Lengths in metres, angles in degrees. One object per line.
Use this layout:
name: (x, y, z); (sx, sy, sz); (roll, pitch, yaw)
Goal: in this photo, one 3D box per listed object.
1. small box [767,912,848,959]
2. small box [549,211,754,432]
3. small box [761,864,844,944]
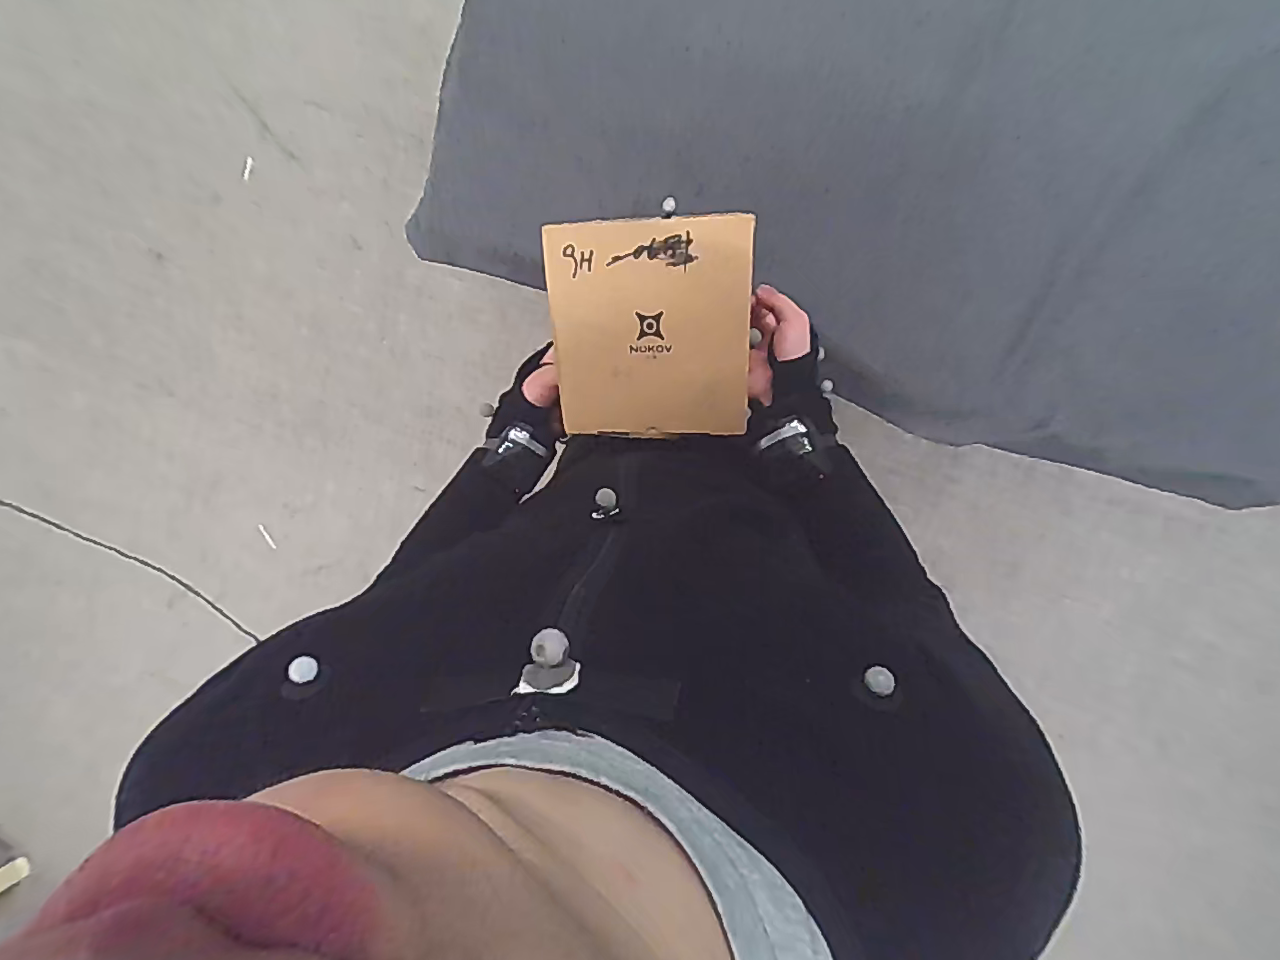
small box: (0.479, 1.381, 1.521); (0.179, 0.176, 0.168); (32, 101, 1)
small box: (0.021, -0.160, 0.530); (0.168, 0.176, 0.179); (1, 118, 8)
small box: (0.498, 1.352, 1.681); (0.179, 0.176, 0.168); (31, 101, 2)
